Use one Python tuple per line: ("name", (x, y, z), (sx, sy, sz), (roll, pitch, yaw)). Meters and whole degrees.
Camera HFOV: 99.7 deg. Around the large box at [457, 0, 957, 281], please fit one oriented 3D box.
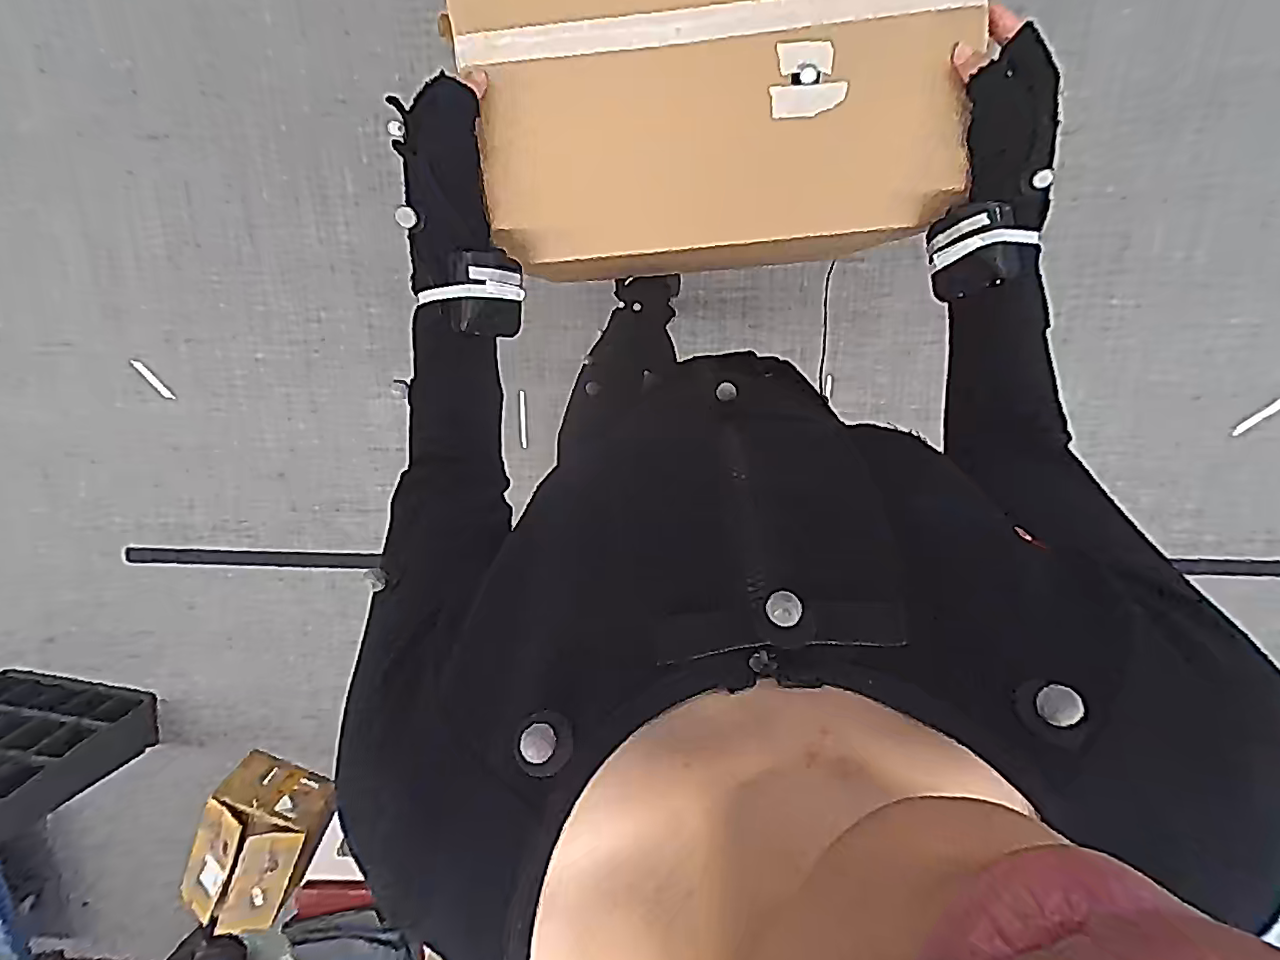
("large box", (0.054, -0.406, 0.577), (0.408, 0.320, 0.320), (-6, 108, 2))
